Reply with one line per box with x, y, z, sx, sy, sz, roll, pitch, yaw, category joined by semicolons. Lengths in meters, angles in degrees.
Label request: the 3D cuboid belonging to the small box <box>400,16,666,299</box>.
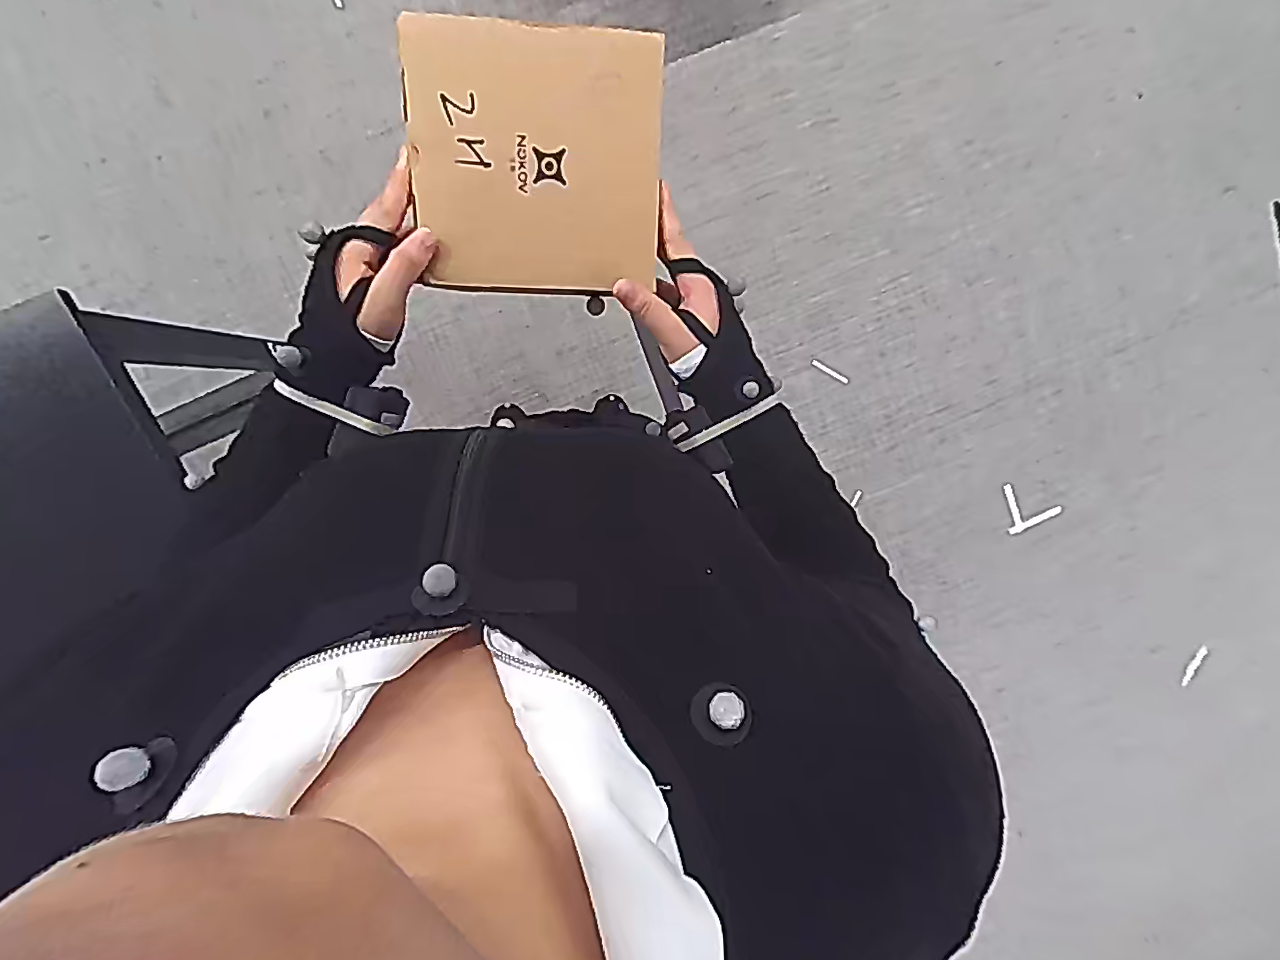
-0.080;-0.243;0.455;0.179;0.176;0.168;0;107;-6;small box
